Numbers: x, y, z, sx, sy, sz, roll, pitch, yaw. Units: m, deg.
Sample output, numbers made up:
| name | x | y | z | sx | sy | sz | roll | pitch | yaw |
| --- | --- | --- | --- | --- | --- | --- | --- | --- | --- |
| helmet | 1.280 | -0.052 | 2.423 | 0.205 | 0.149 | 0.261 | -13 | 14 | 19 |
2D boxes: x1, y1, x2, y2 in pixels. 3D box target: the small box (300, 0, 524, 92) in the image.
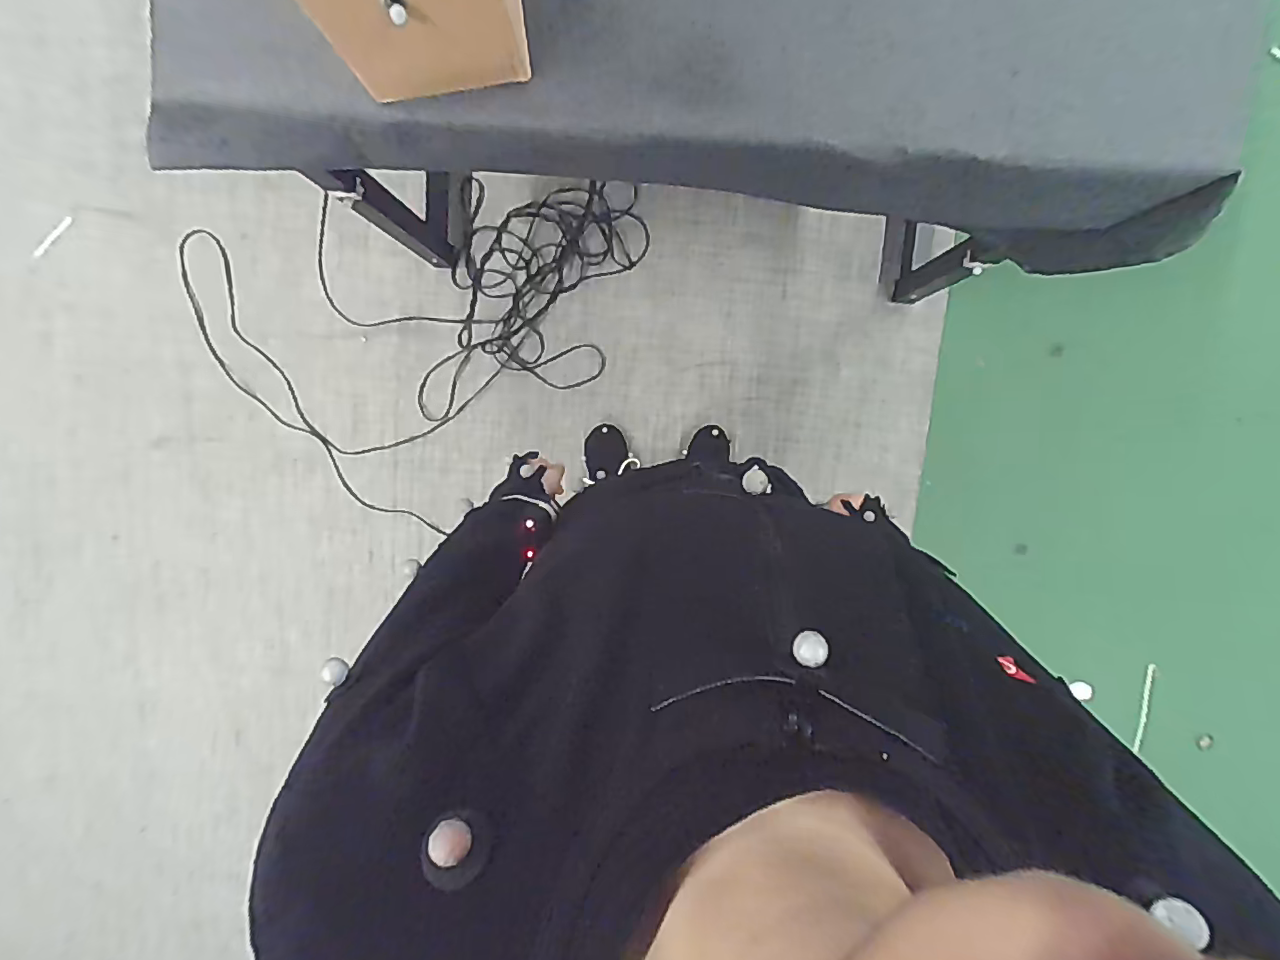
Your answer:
| name | x | y | z | sx | sy | sz | roll | pitch | yaw |
| --- | --- | --- | --- | --- | --- | --- | --- | --- | --- |
| small box | -0.214 | -0.505 | 0.505 | 0.179 | 0.176 | 0.168 | -7 | 95 | 2 |
